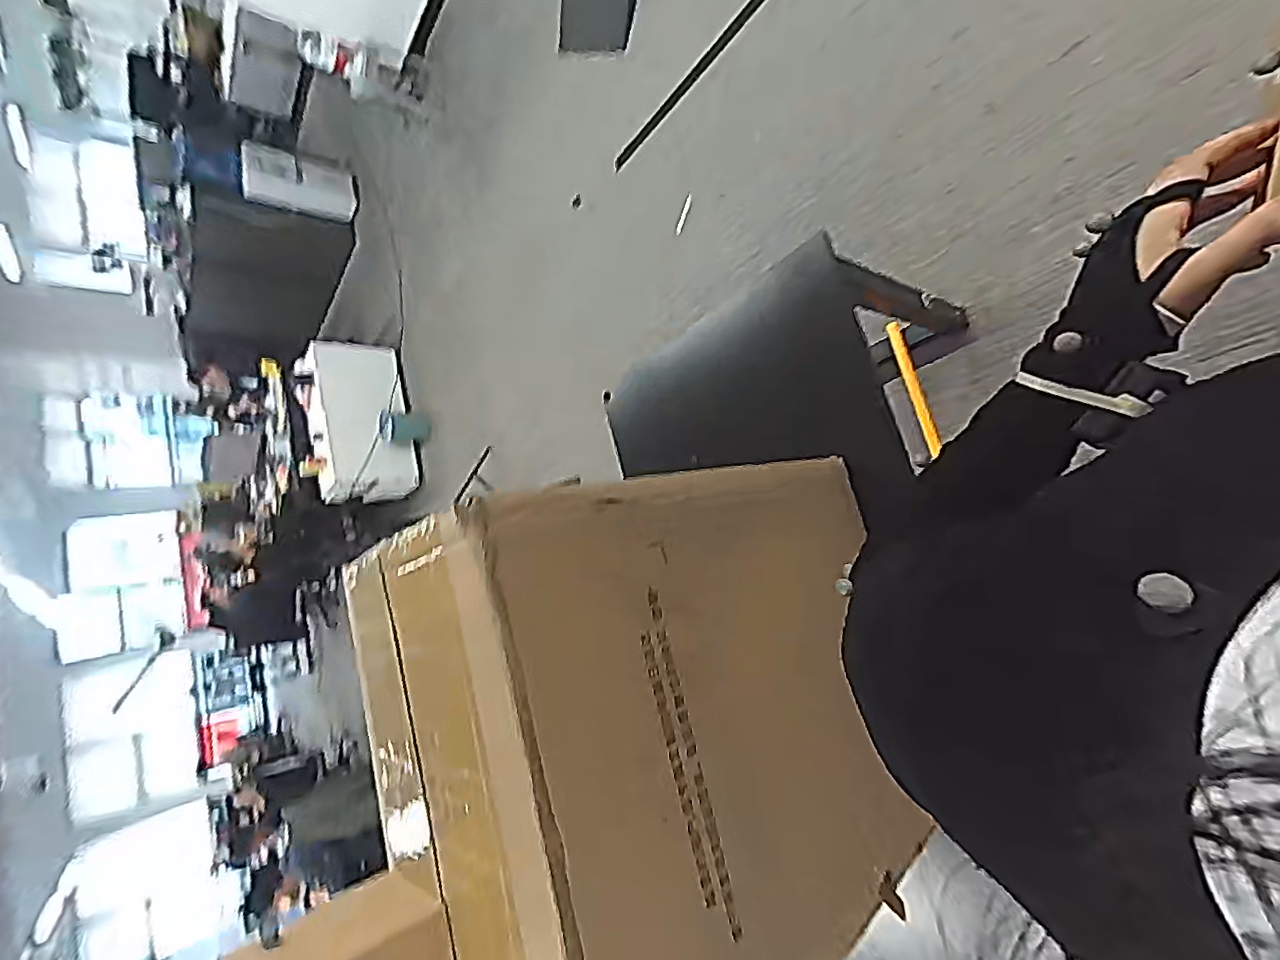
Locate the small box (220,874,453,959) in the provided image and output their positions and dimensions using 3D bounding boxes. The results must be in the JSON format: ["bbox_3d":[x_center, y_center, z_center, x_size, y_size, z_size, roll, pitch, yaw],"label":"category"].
[{"bbox_3d":[-0.273,0.502,0.496,0.179,0.176,0.168,-29,72,47],"label":"small box"}]

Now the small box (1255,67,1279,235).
[{"bbox_3d":[0.466,-0.240,0.285,0.168,0.176,0.179,10,112,43],"label":"small box"}]
